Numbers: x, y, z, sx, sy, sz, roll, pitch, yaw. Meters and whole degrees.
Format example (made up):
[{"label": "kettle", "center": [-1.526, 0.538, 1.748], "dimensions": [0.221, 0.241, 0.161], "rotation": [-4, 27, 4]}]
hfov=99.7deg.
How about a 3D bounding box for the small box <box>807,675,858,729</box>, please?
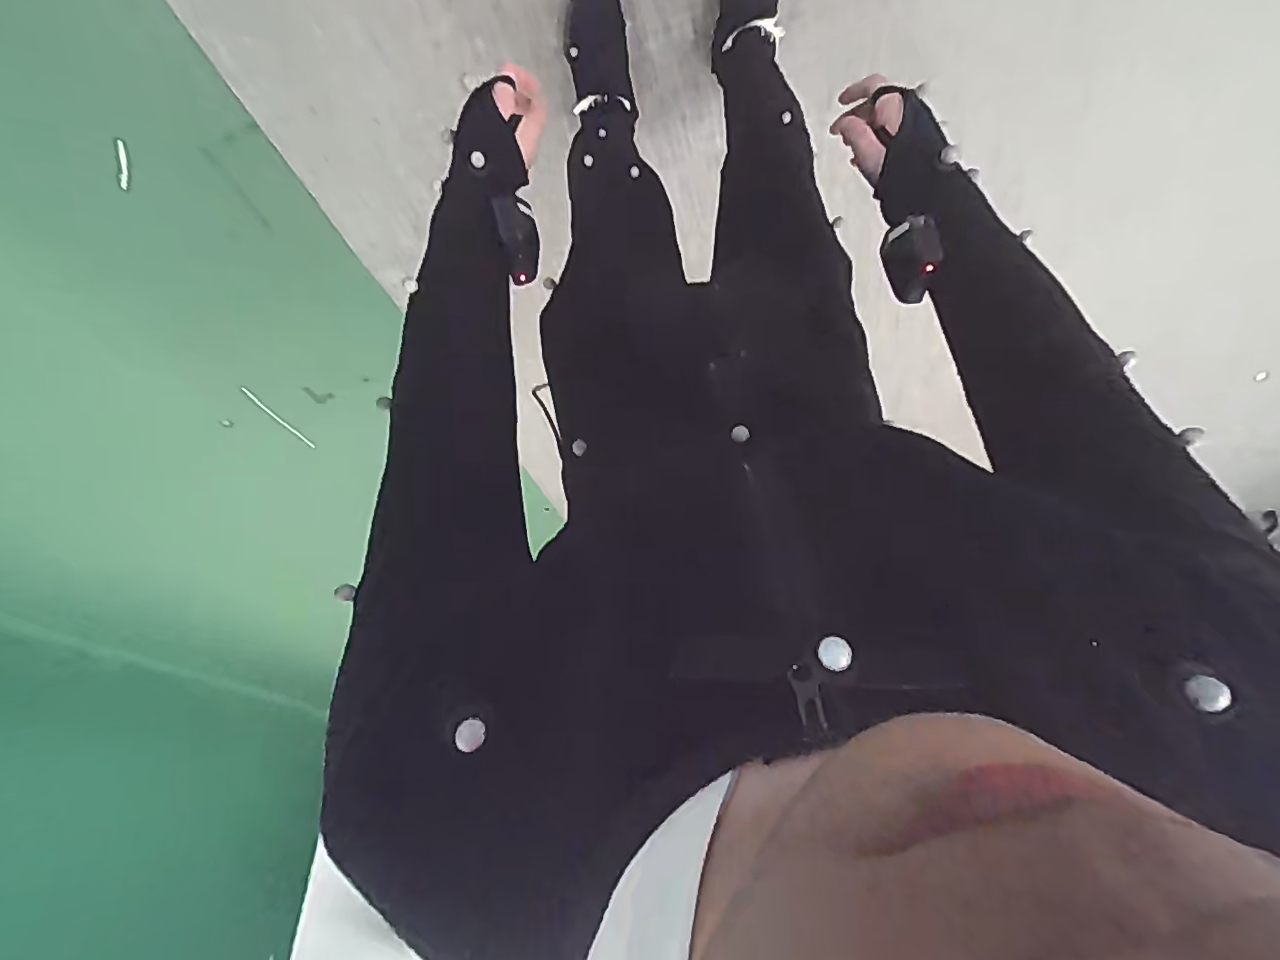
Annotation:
[{"label": "small box", "center": [0.792, 0.914, 2.232], "dimensions": [0.168, 0.176, 0.179], "rotation": [-12, 144, 12]}]
